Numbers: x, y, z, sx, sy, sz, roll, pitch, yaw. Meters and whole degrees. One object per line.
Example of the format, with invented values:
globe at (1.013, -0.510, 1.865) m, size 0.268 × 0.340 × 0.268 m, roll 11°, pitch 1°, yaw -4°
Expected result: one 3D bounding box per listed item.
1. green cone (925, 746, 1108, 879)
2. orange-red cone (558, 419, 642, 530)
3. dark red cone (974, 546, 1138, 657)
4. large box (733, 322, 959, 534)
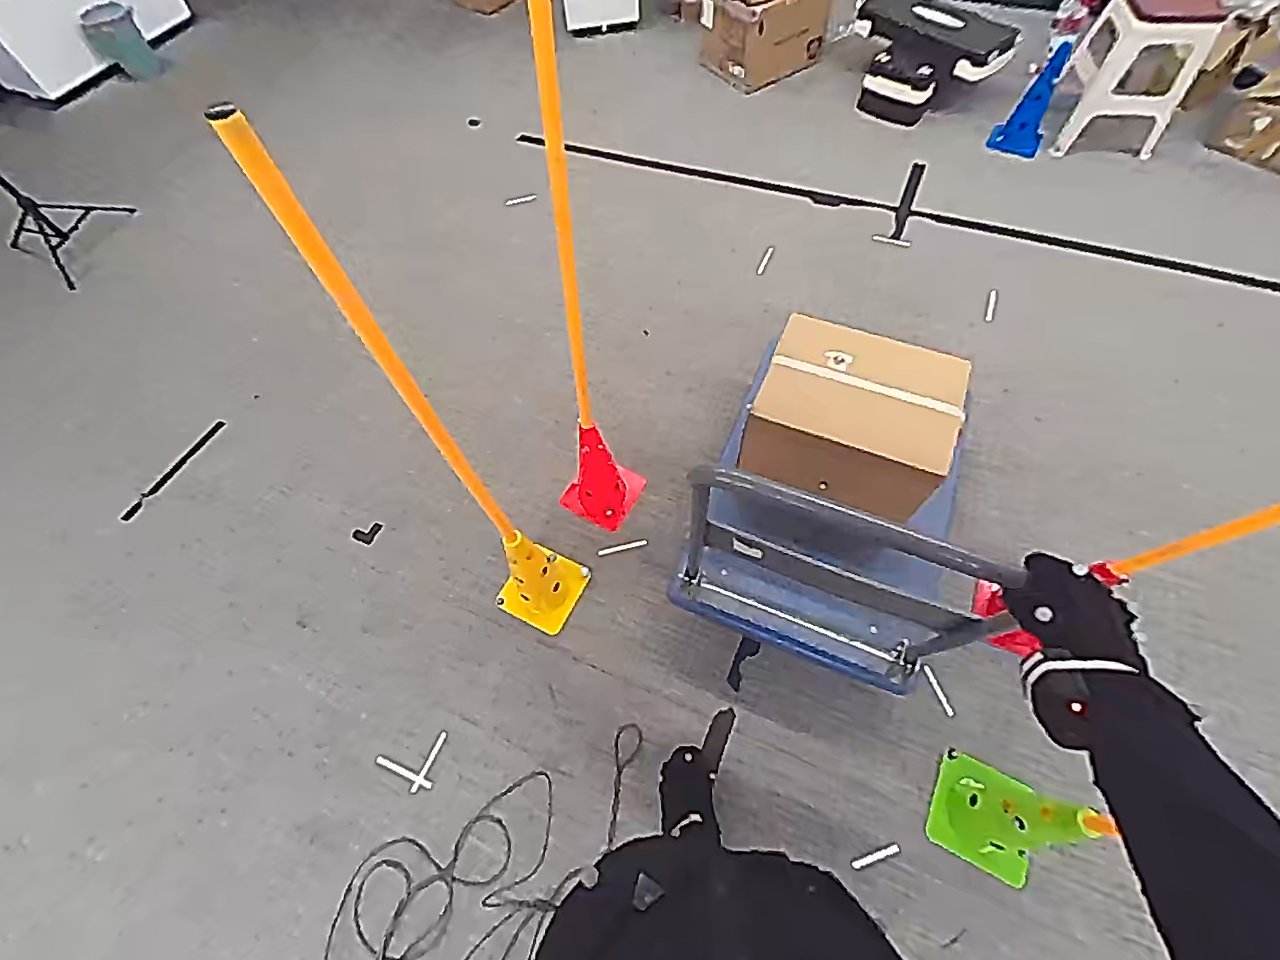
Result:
green cone at (0.733, 0.635, 1.026) m, size 0.202 × 0.368 × 0.200 m, roll 24°, pitch 65°, yaw 14°
orange-red cone at (-0.123, -0.049, 1.460) m, size 0.198 × 0.360 × 0.199 m, roll 27°, pitch 65°, yaw 16°
dark red cone at (0.945, 0.240, 1.213) m, size 0.201 × 0.394 × 0.202 m, roll 21°, pitch 65°, yaw 12°
large box at (0.471, -0.117, 1.296) m, size 0.408 × 0.320 × 0.320 m, roll 20°, pitch 65°, yaw 14°
